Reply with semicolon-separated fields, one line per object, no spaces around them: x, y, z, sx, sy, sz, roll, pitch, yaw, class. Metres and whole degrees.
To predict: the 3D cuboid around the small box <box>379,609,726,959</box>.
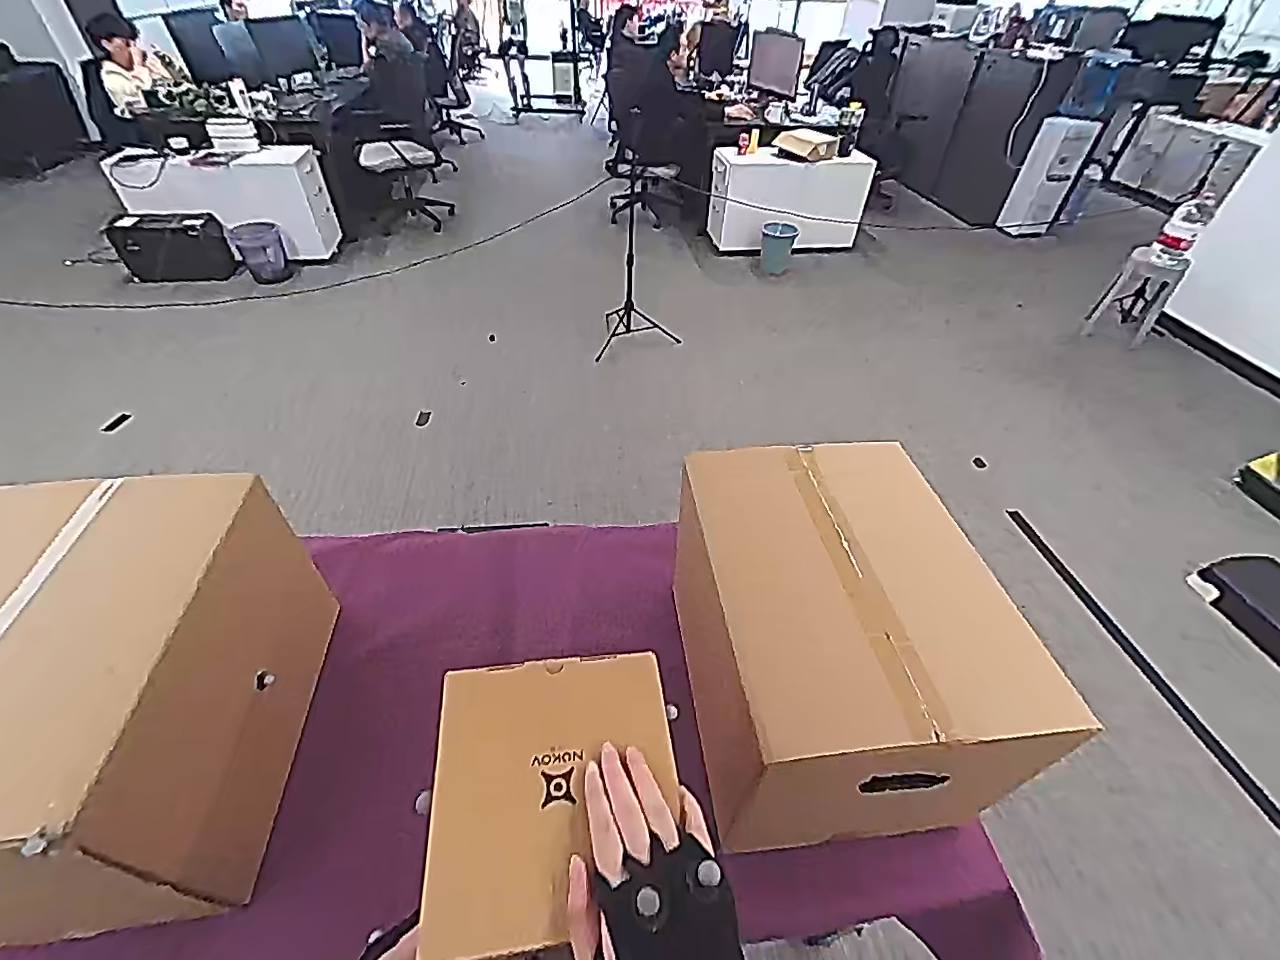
-0.057;0.225;0.407;0.179;0.176;0.168;-19;27;-1;small box
